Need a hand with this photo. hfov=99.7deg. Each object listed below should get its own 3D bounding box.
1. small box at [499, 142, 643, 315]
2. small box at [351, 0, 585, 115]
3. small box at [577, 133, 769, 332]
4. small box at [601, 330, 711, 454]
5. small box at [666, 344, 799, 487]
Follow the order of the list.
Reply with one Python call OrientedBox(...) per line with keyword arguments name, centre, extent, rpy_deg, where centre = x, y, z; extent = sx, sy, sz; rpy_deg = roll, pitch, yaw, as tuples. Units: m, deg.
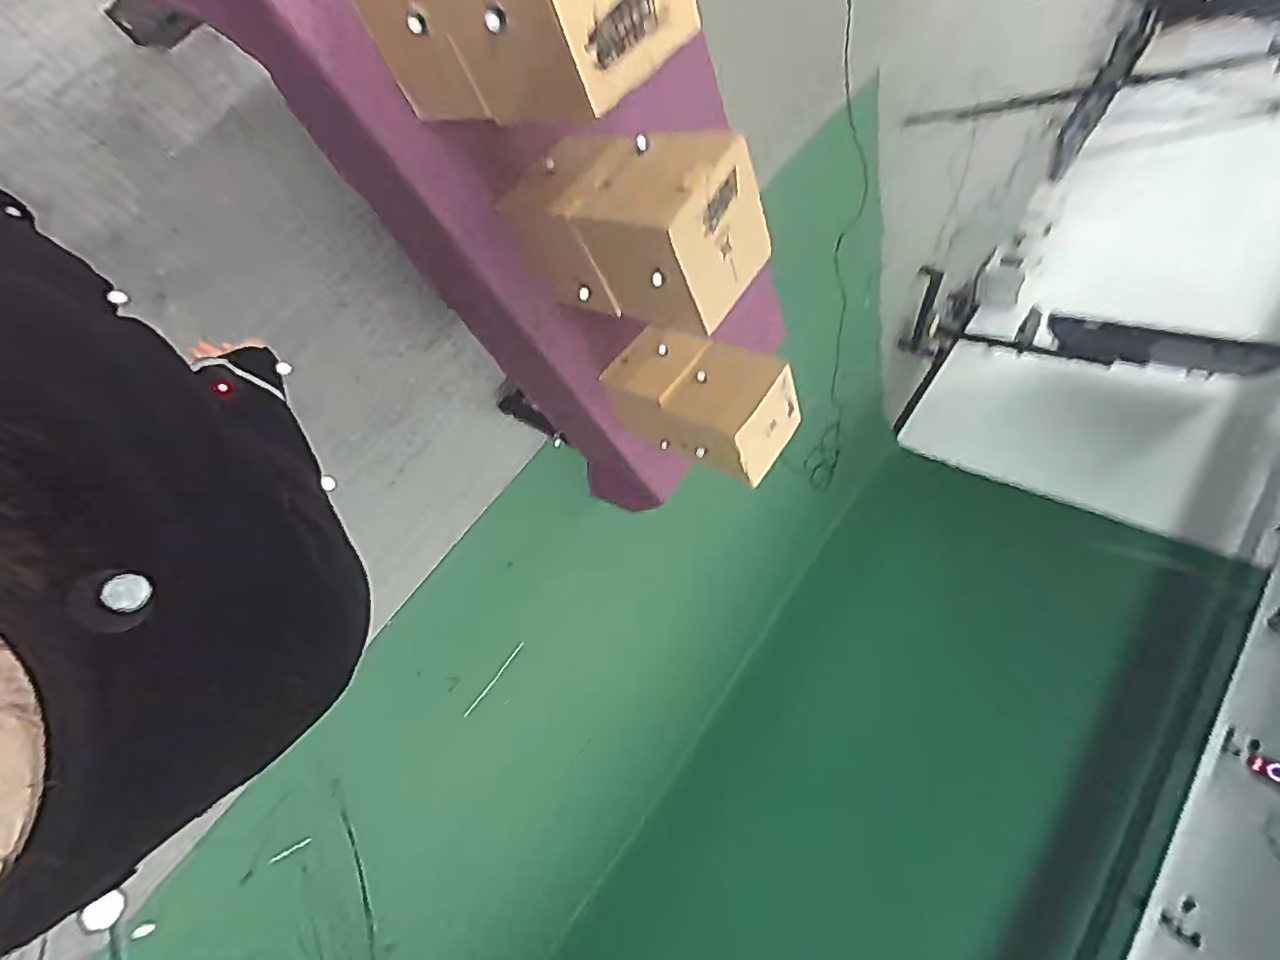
OrientedBox(name="small box", centre=(-0.076, -0.387, 0.825), extent=(0.168, 0.176, 0.179), rpy_deg=(-52, 142, -15))
OrientedBox(name="small box", centre=(-0.198, -0.530, 0.591), extent=(0.168, 0.176, 0.179), rpy_deg=(-48, 142, -17))
OrientedBox(name="small box", centre=(0.046, -0.331, 0.730), extent=(0.168, 0.176, 0.179), rpy_deg=(-53, 144, -12))
OrientedBox(name="small box", centre=(0.049, -0.186, 1.104), extent=(0.168, 0.176, 0.179), rpy_deg=(-49, 142, -17))
OrientedBox(name="small box", centre=(0.168, -0.124, 1.009), extent=(0.179, 0.176, 0.168), rpy_deg=(-51, 143, -14))
